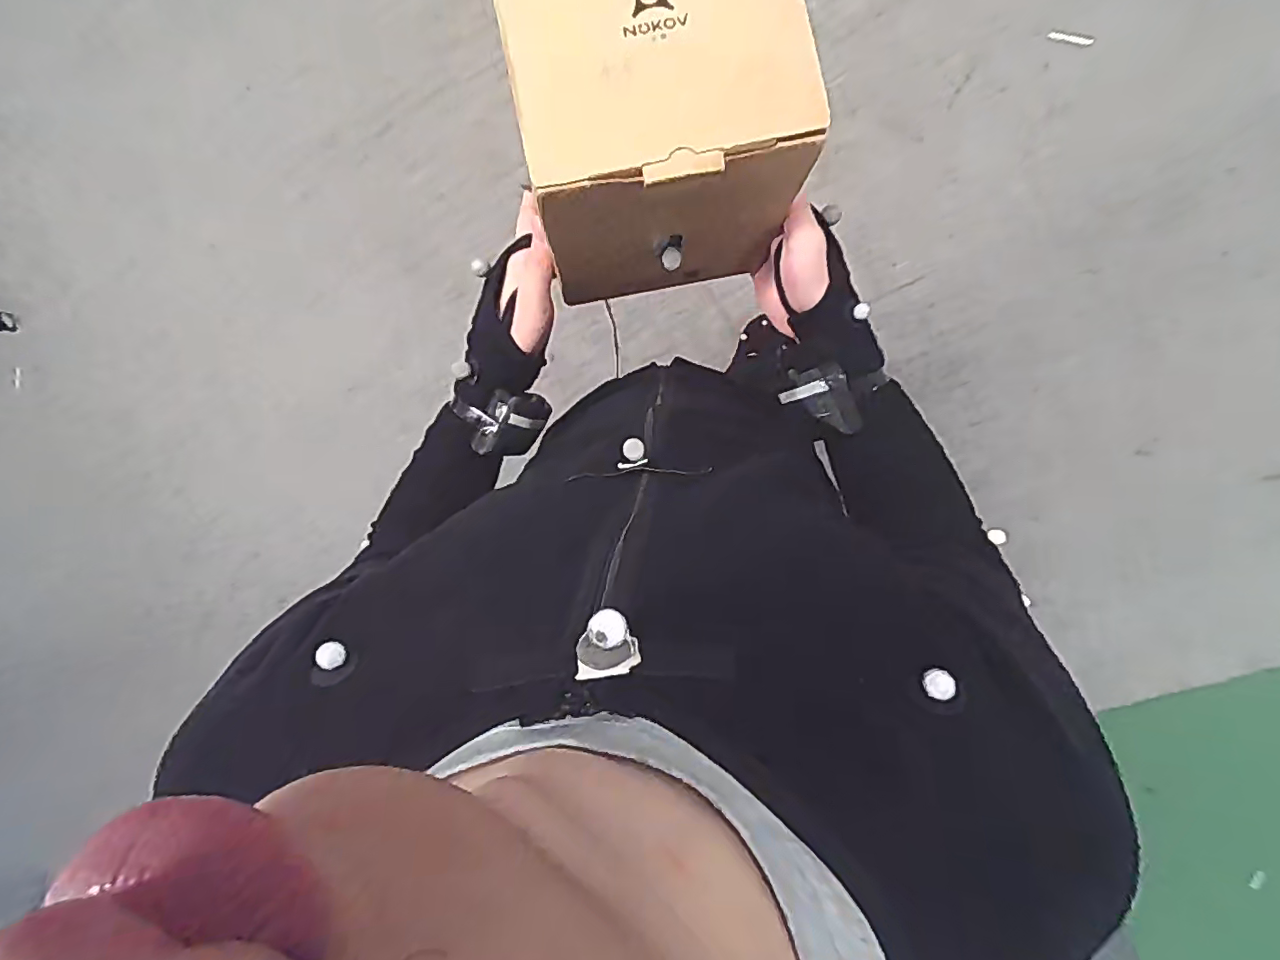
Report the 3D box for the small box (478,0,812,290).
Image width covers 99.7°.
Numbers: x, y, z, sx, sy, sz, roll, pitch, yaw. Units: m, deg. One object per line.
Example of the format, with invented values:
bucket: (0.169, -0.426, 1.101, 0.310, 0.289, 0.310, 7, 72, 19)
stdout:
small box: (-0.004, -0.245, 0.366, 0.168, 0.176, 0.179, -11, 89, -3)
